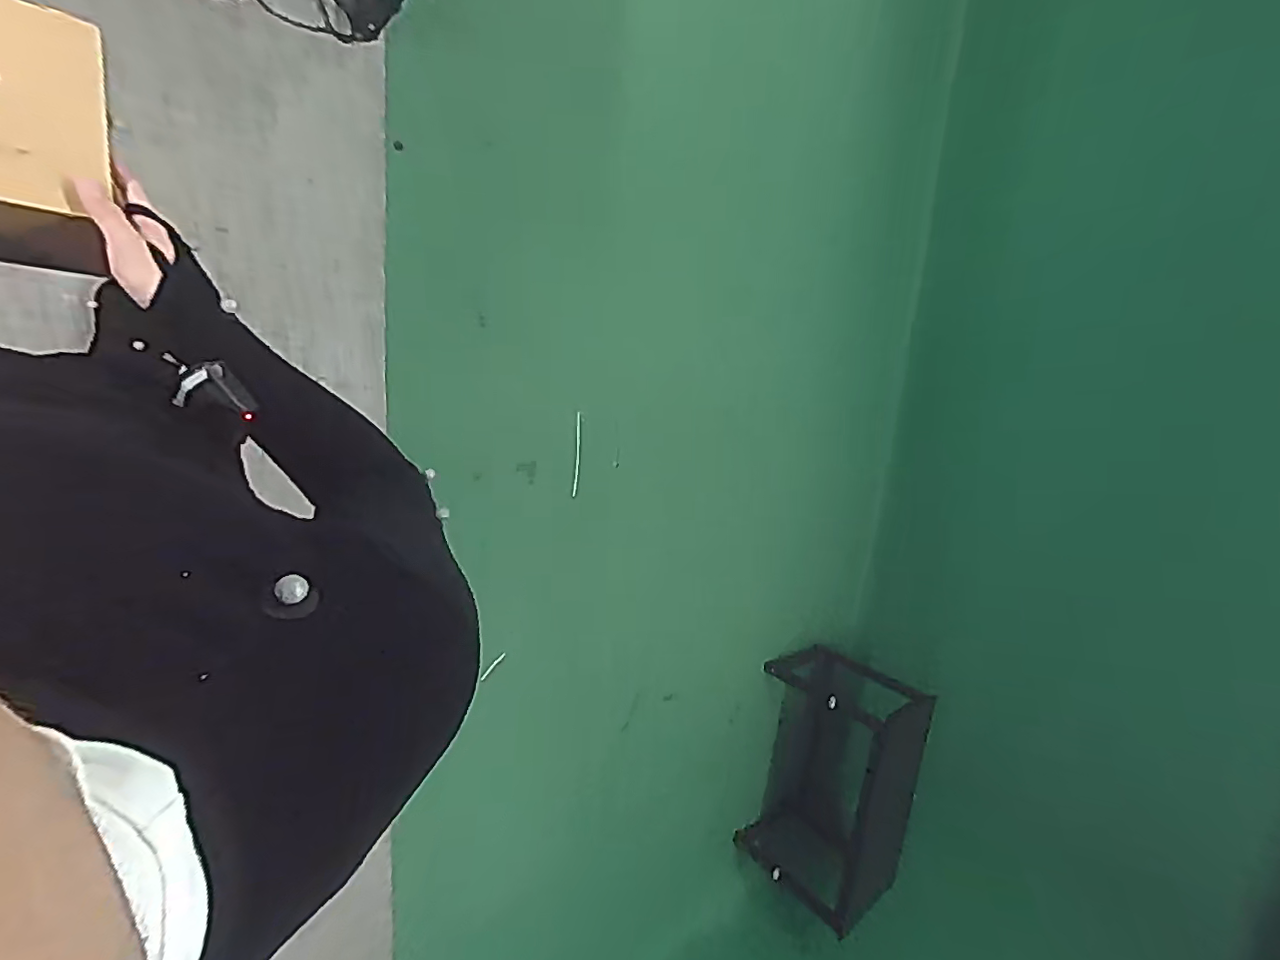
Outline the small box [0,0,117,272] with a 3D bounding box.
[{"bbox_3d":[-0.580,-0.308,0.473,0.168,0.176,0.179,-4,92,-45],"label":"small box"}]
